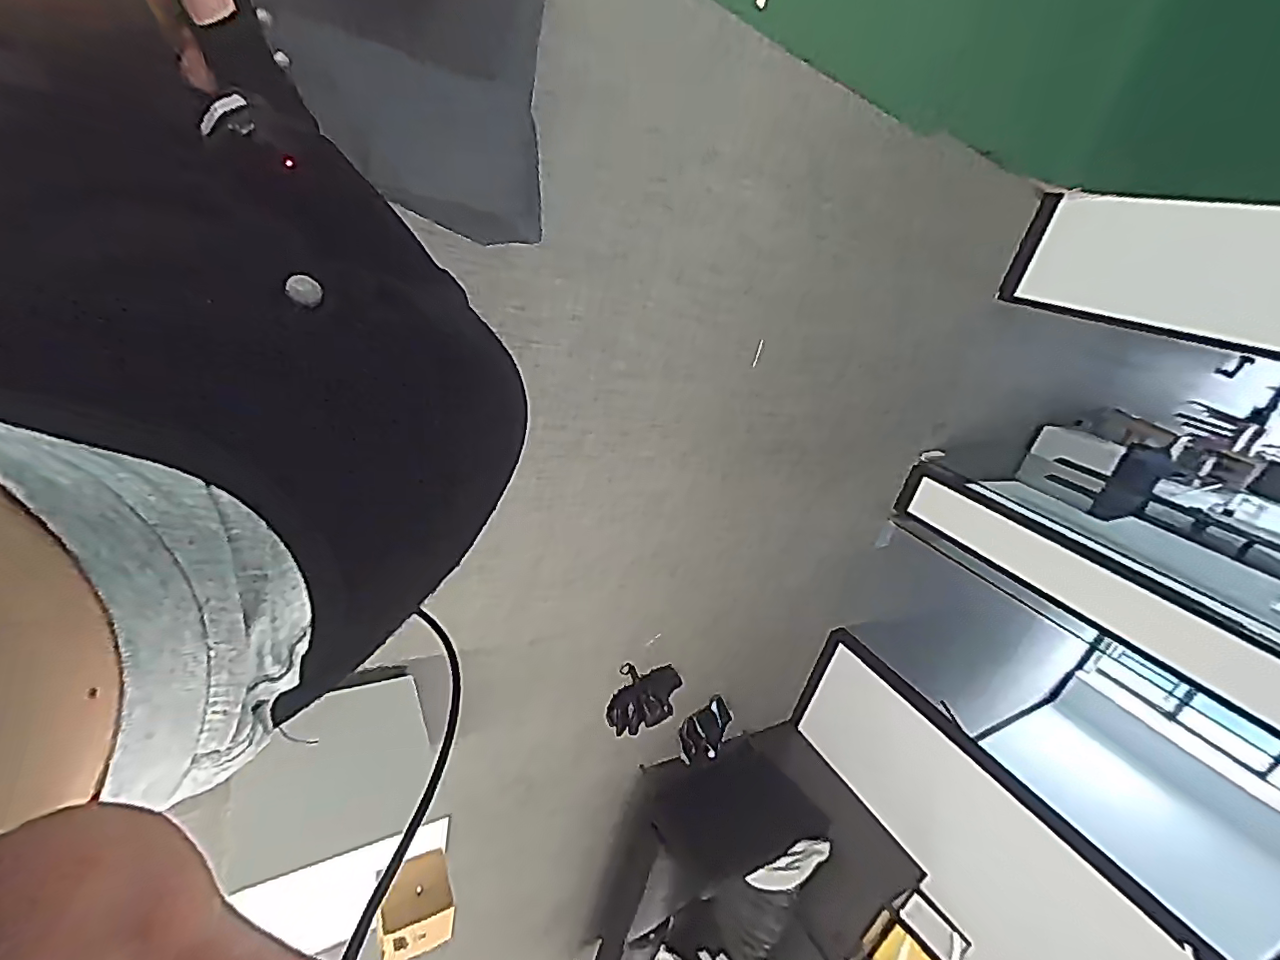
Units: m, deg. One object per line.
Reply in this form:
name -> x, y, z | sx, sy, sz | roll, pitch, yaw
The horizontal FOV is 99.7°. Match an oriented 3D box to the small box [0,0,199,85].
small box -> -0.426, -0.383, 0.344 | 0.179, 0.176, 0.168 | -13, 110, -26

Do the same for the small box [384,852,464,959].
small box -> -0.597, 1.176, 1.482 | 0.179, 0.176, 0.168 | -3, 119, -32
